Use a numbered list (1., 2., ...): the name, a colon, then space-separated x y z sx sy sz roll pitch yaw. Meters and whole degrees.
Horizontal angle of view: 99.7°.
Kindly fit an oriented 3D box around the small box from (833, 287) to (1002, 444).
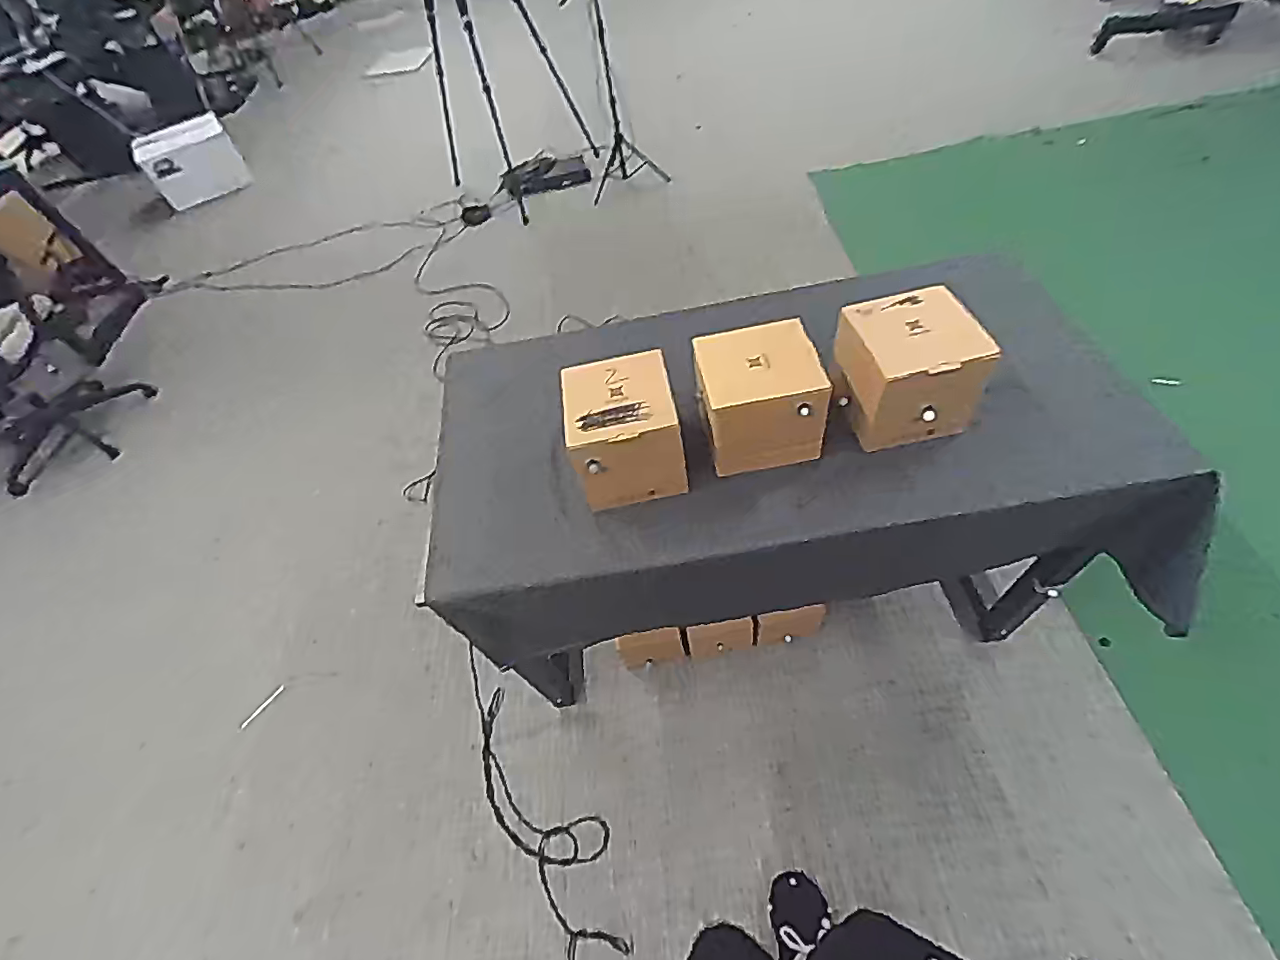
1. small box: 0.428 -0.175 0.869 0.168 0.176 0.179 -11 53 1
